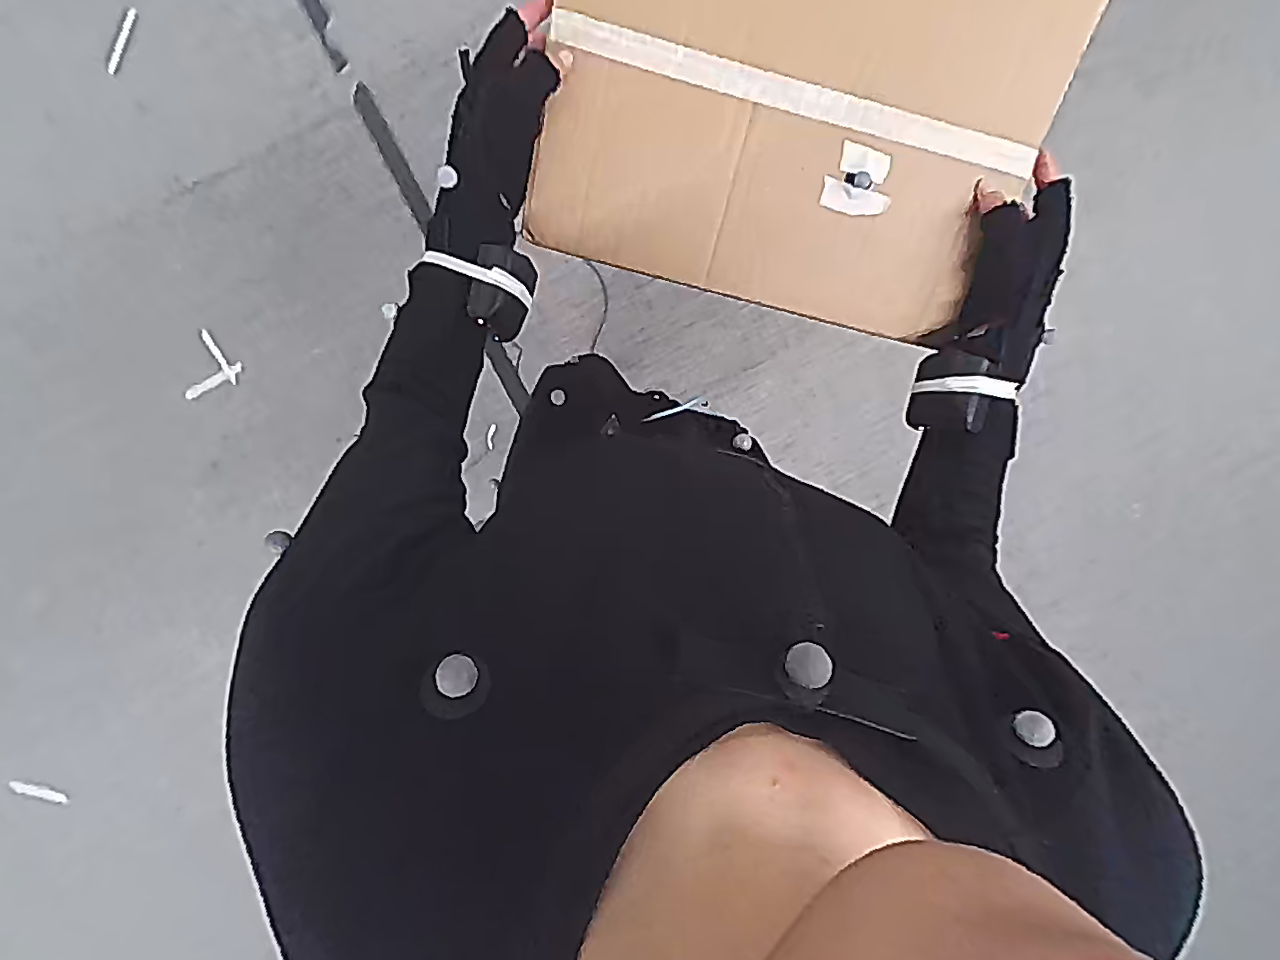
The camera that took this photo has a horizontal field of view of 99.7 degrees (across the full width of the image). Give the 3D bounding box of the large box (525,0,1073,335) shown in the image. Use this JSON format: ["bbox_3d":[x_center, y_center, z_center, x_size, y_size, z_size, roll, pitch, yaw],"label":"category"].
[{"bbox_3d":[0.117,-0.368,0.582,0.408,0.320,0.320,12,113,-5],"label":"large box"}]
